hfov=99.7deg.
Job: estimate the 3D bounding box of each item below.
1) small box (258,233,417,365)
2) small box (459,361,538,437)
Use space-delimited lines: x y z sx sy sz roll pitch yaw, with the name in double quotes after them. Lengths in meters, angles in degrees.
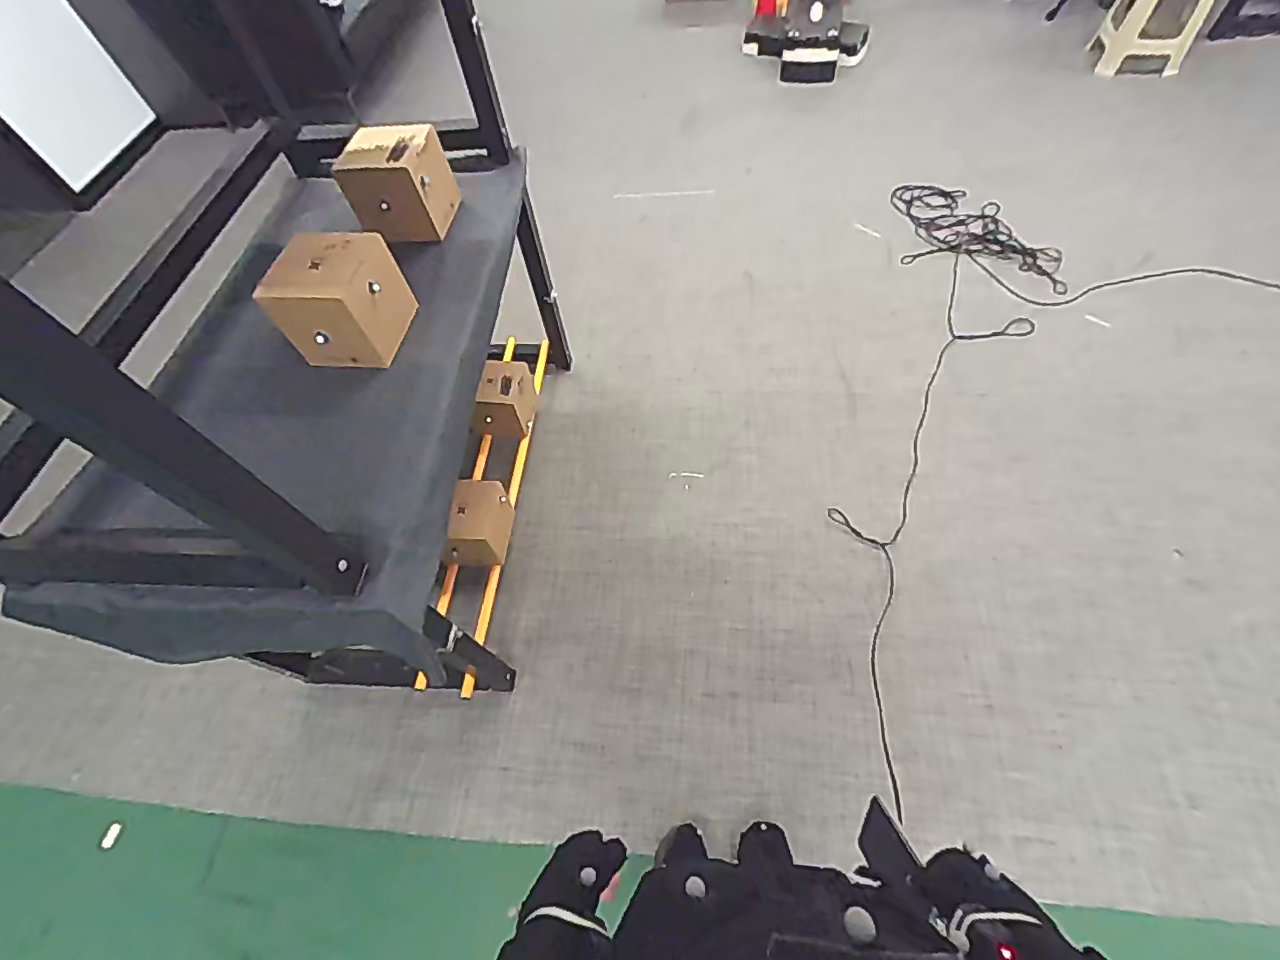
-0.545 -0.331 1.005 0.168 0.176 0.179 4 59 7 "small box"
-0.430 -0.247 1.677 0.179 0.176 0.168 4 58 7 "small box"
